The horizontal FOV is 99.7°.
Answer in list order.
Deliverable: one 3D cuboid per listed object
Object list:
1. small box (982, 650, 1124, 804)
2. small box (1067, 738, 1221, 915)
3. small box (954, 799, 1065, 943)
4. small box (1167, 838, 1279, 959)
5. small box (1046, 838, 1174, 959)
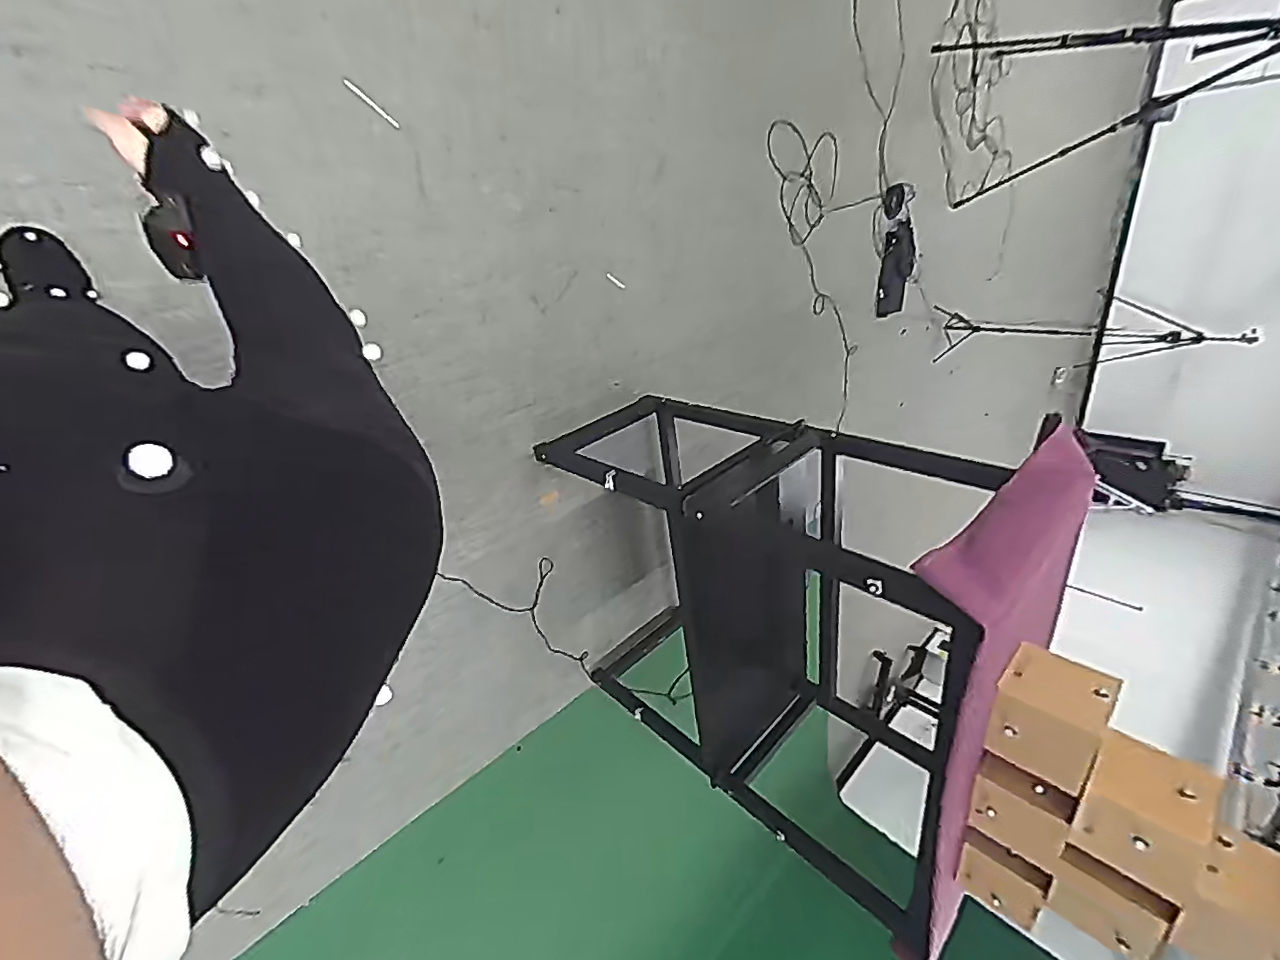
[{"bbox_3d":[0.798,0.471,1.057,0.168,0.176,0.179,-28,123,-34],"label":"small box"},{"bbox_3d":[0.923,0.626,1.000,0.179,0.176,0.168,-27,121,-35],"label":"small box"},{"bbox_3d":[0.870,0.916,1.283,0.179,0.176,0.168,-25,121,-37],"label":"small box"},{"bbox_3d":[1.051,0.764,0.933,0.168,0.176,0.179,-29,122,-34],"label":"small box"},{"bbox_3d":[0.958,0.835,1.103,0.168,0.176,0.179,-28,122,-35],"label":"small box"}]
